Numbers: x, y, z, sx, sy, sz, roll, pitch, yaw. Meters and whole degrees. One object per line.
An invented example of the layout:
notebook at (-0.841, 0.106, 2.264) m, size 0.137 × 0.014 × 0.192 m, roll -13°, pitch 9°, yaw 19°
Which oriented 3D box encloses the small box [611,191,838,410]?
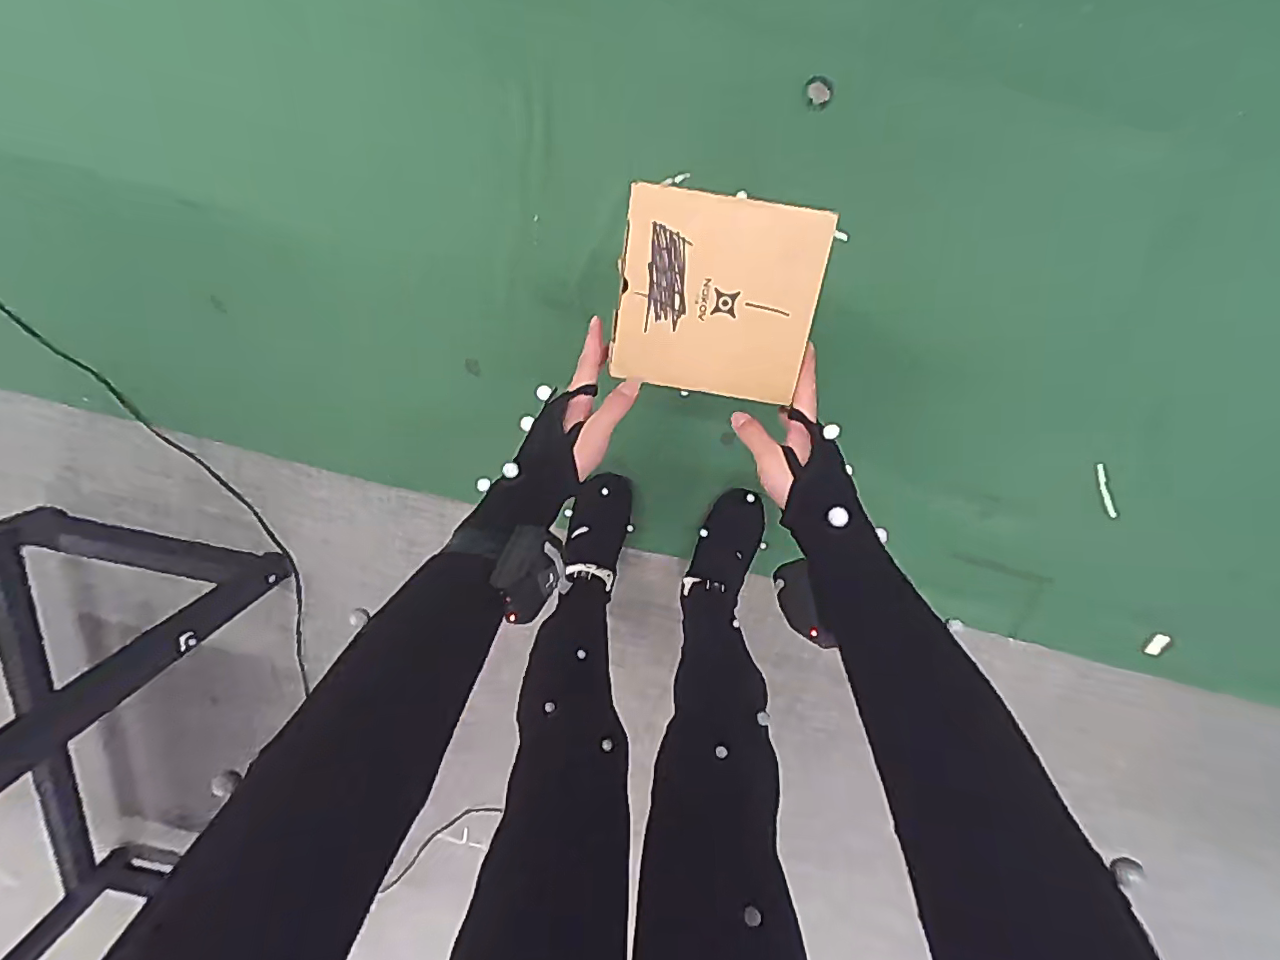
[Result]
small box at (0.077, -0.180, 0.555) m, size 0.179 × 0.176 × 0.168 m, roll 10°, pitch 110°, yaw 3°
